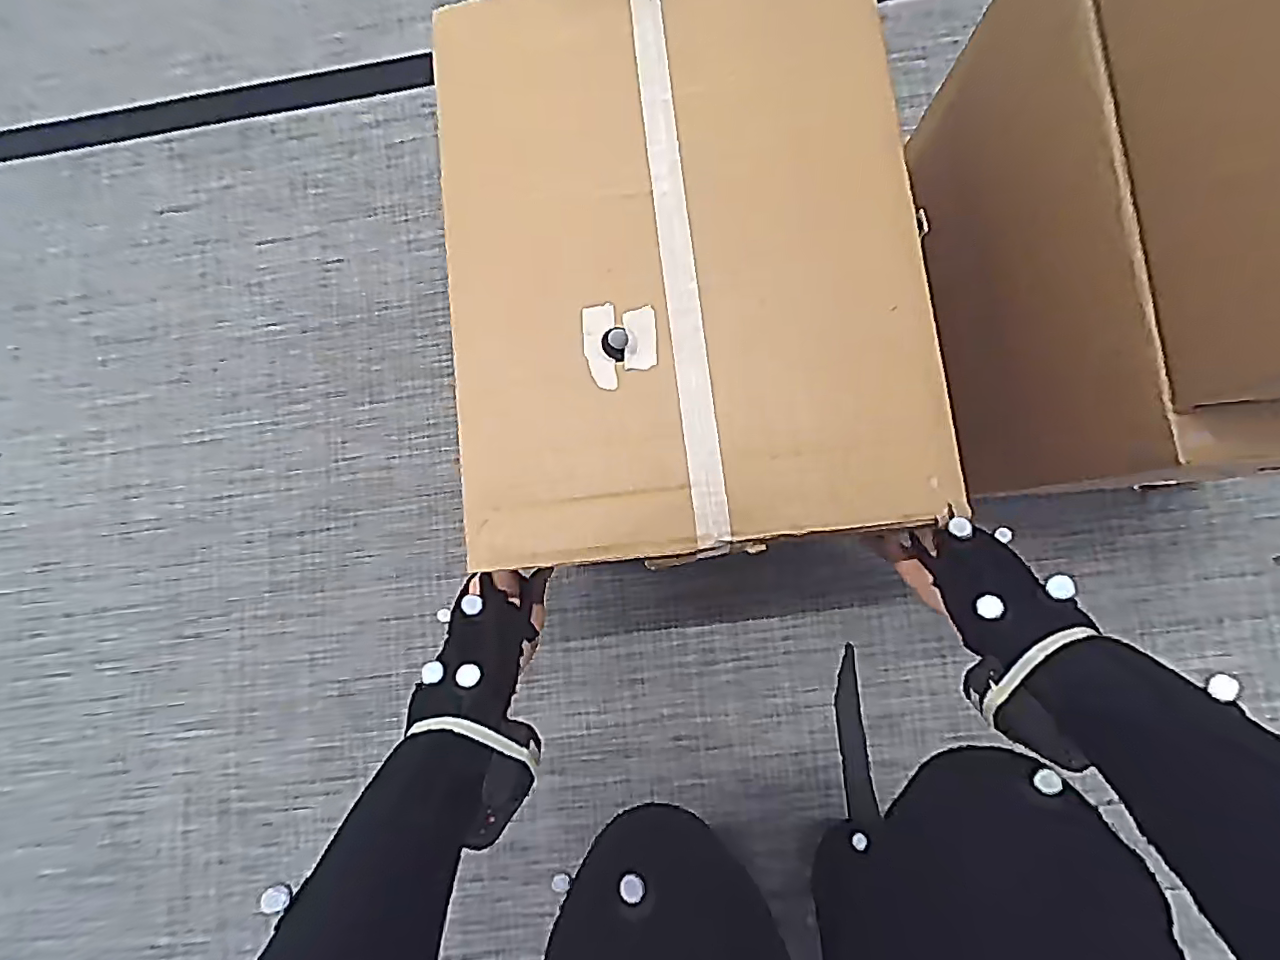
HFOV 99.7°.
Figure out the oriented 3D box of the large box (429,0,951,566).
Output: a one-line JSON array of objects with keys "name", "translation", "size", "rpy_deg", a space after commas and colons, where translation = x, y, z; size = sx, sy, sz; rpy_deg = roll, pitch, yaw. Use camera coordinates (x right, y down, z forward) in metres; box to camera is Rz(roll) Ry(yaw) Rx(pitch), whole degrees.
[{"name": "large box", "translation": [0.028, -0.144, 0.518], "size": [0.320, 0.320, 0.408], "rpy_deg": [-7, 84, 3]}]
